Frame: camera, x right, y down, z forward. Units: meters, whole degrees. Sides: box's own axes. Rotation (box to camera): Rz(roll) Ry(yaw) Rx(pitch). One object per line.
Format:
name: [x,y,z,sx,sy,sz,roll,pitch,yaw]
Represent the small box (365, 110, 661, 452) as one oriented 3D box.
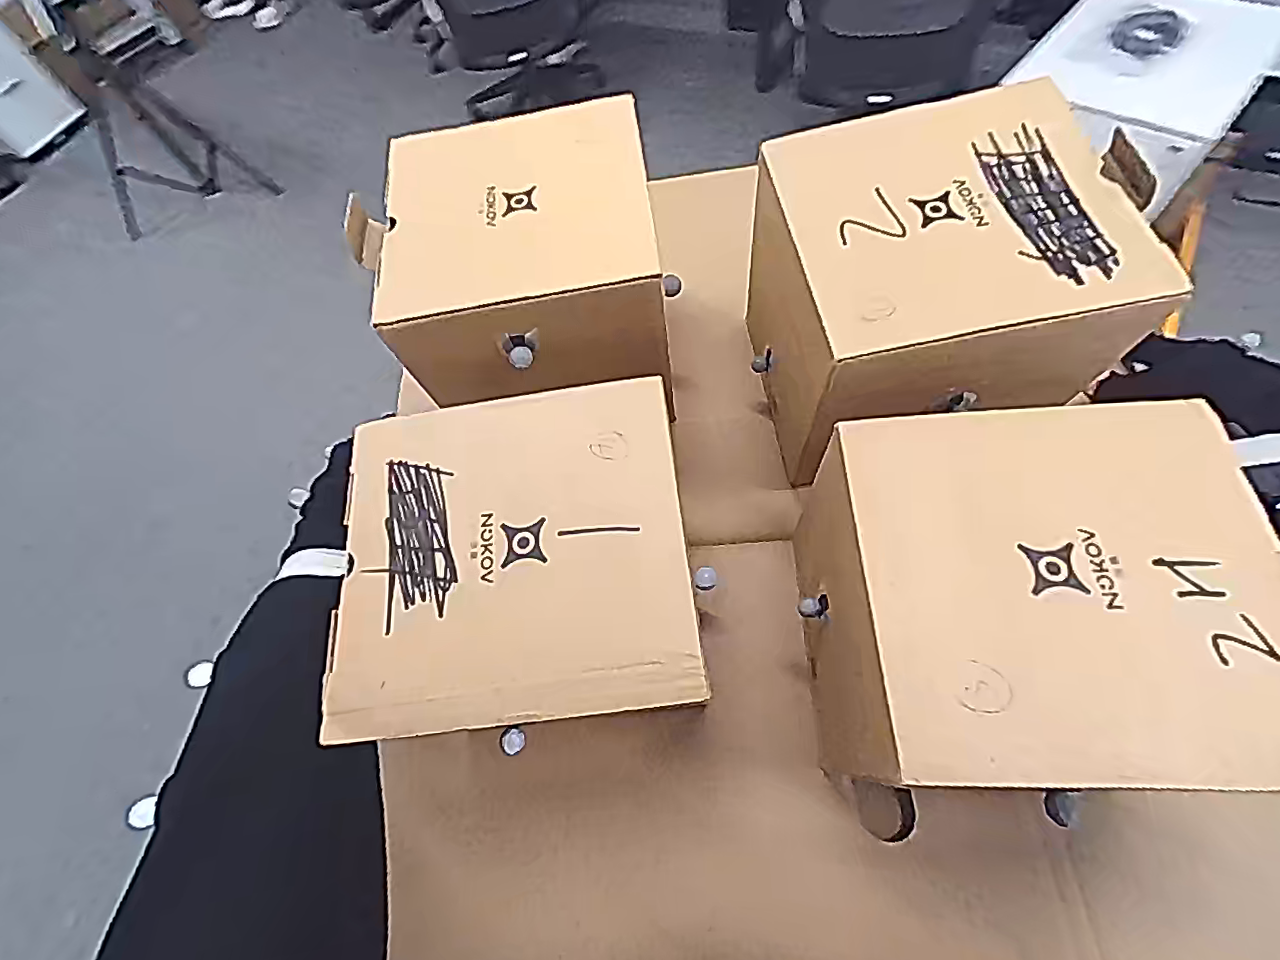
small box: [-0.080,-0.139,0.423,0.179,0.176,0.168,-10,66,4]
